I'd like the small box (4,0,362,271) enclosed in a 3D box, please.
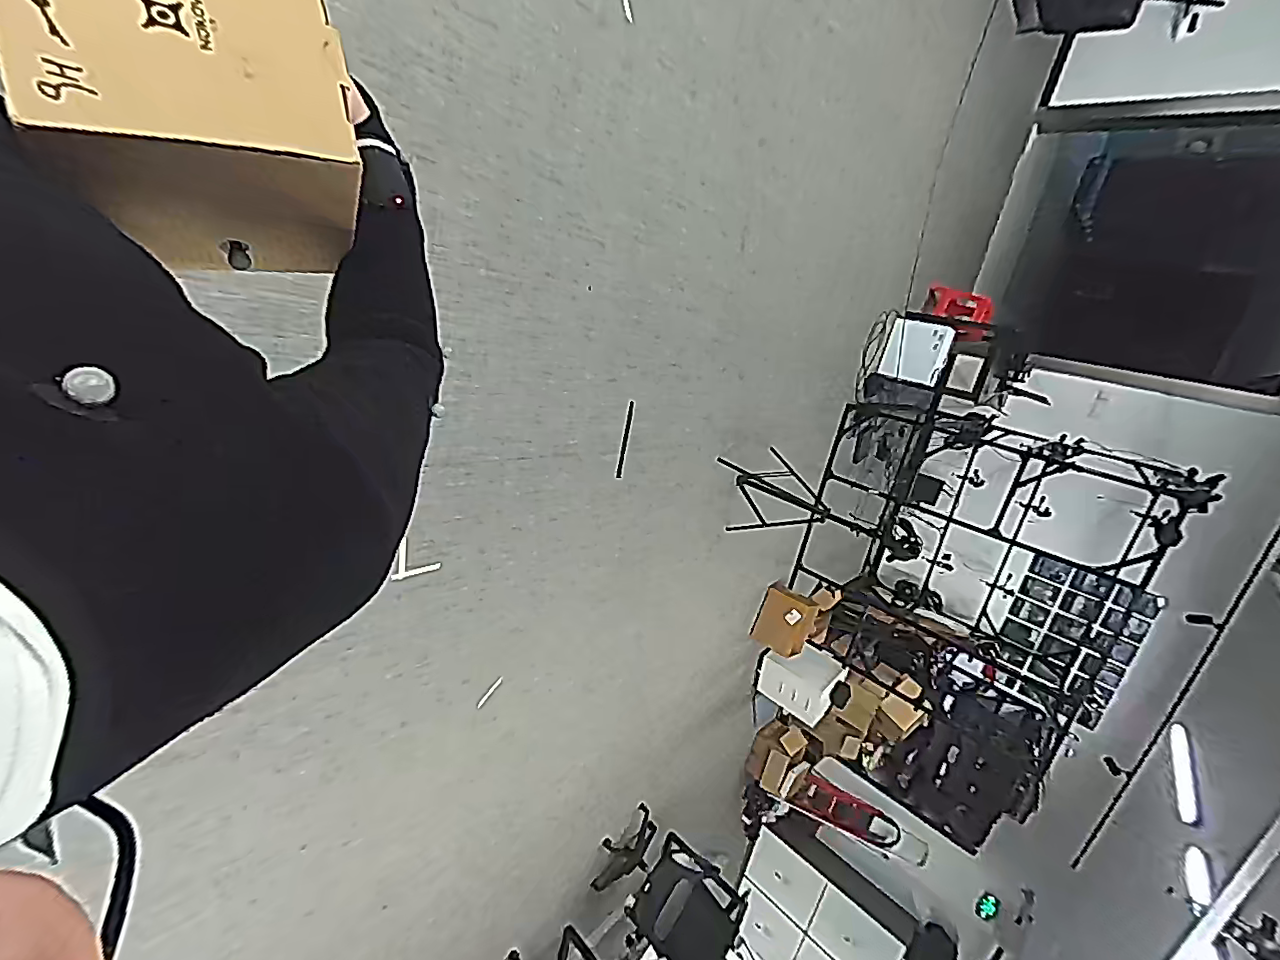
[{"bbox_3d":[-0.338,-0.281,0.424,0.179,0.176,0.168,-12,87,-33],"label":"small box"}]
